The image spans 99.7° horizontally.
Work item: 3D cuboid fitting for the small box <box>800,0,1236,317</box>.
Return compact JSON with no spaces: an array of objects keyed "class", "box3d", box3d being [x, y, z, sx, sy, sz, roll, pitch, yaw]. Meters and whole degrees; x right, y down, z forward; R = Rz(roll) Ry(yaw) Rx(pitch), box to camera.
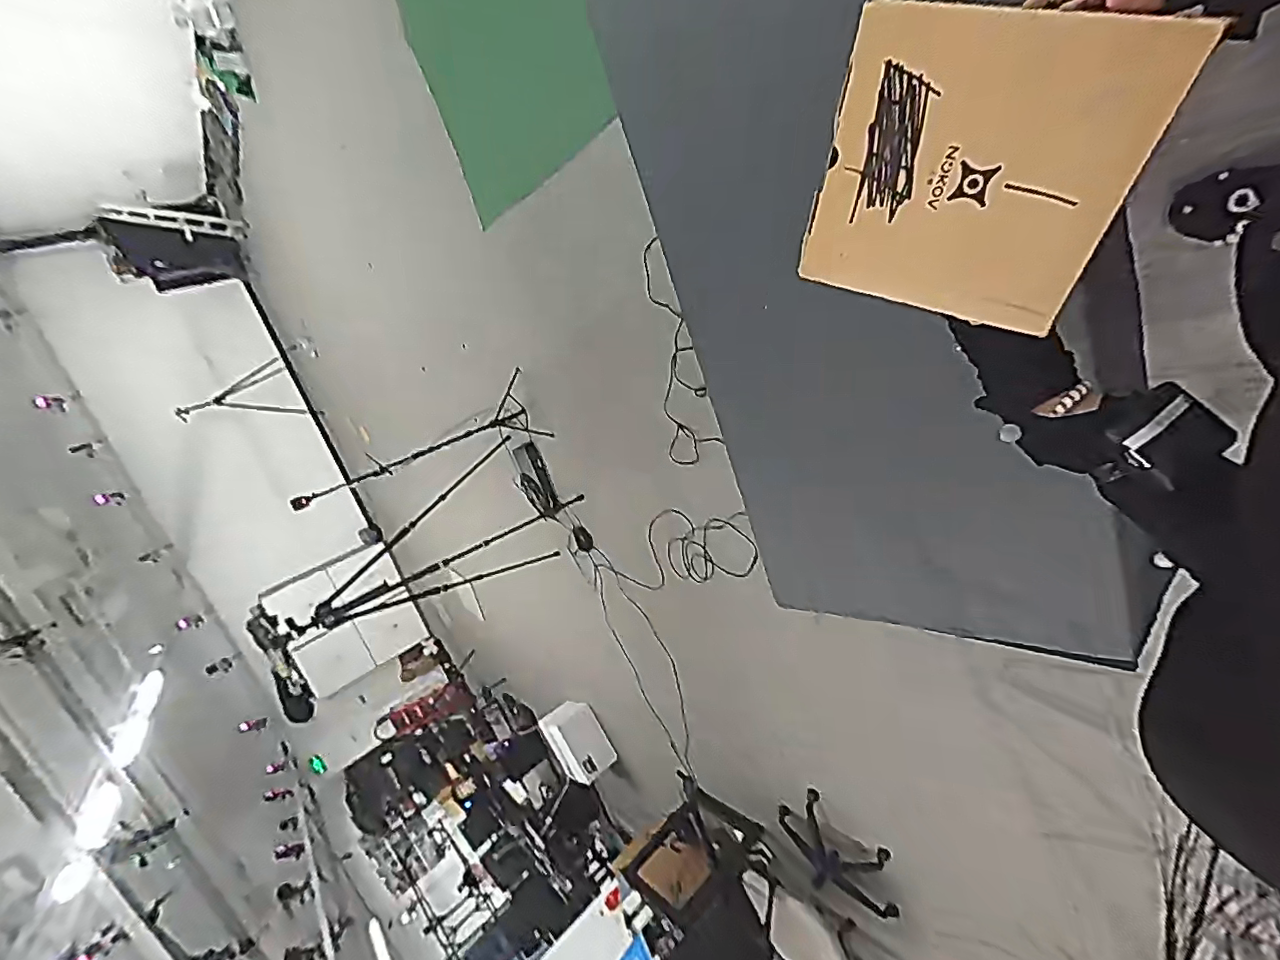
[{"class":"small box","box3d":[0.246,-0.243,0.390,0.179,0.176,0.168,25,135,21]}]
